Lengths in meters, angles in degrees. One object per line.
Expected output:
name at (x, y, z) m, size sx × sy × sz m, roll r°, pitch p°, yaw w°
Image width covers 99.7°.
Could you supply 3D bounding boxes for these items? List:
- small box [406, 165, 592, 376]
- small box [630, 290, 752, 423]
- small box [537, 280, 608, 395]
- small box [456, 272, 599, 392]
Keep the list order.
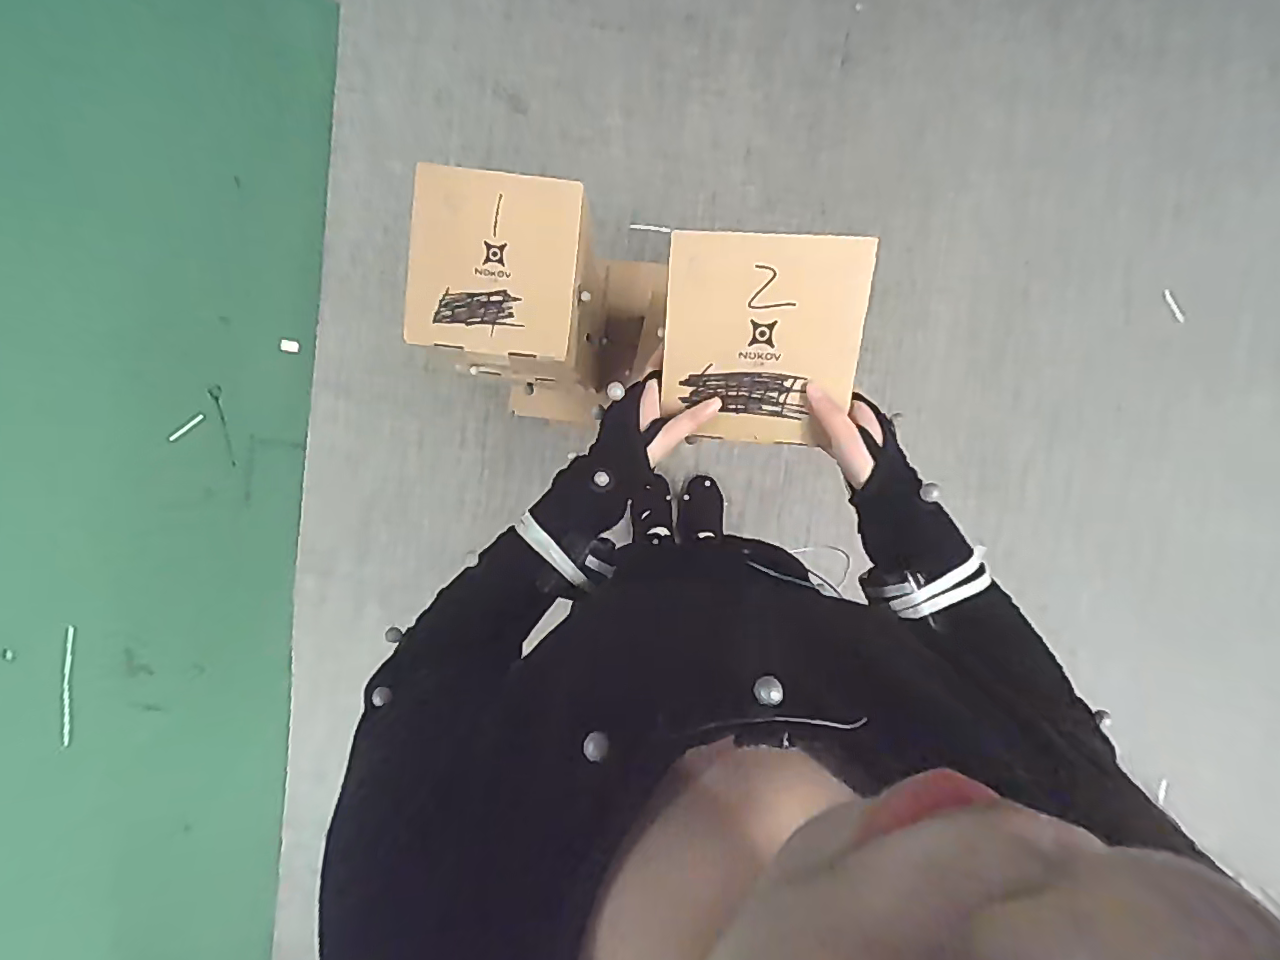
small box at (-0.146, -0.218, 0.613) m, size 0.168 × 0.176 × 0.179 m, roll 6°, pitch 94°, yaw -2°
small box at (0.082, -0.204, 0.936) m, size 0.168 × 0.176 × 0.179 m, roll 13°, pitch 94°, yaw 2°
small box at (-0.148, -0.247, 0.939) m, size 0.168 × 0.176 × 0.179 m, roll 8°, pitch 94°, yaw -1°
small box at (-0.151, -0.223, 0.777) m, size 0.168 × 0.176 × 0.179 m, roll 6°, pitch 95°, yaw -2°
